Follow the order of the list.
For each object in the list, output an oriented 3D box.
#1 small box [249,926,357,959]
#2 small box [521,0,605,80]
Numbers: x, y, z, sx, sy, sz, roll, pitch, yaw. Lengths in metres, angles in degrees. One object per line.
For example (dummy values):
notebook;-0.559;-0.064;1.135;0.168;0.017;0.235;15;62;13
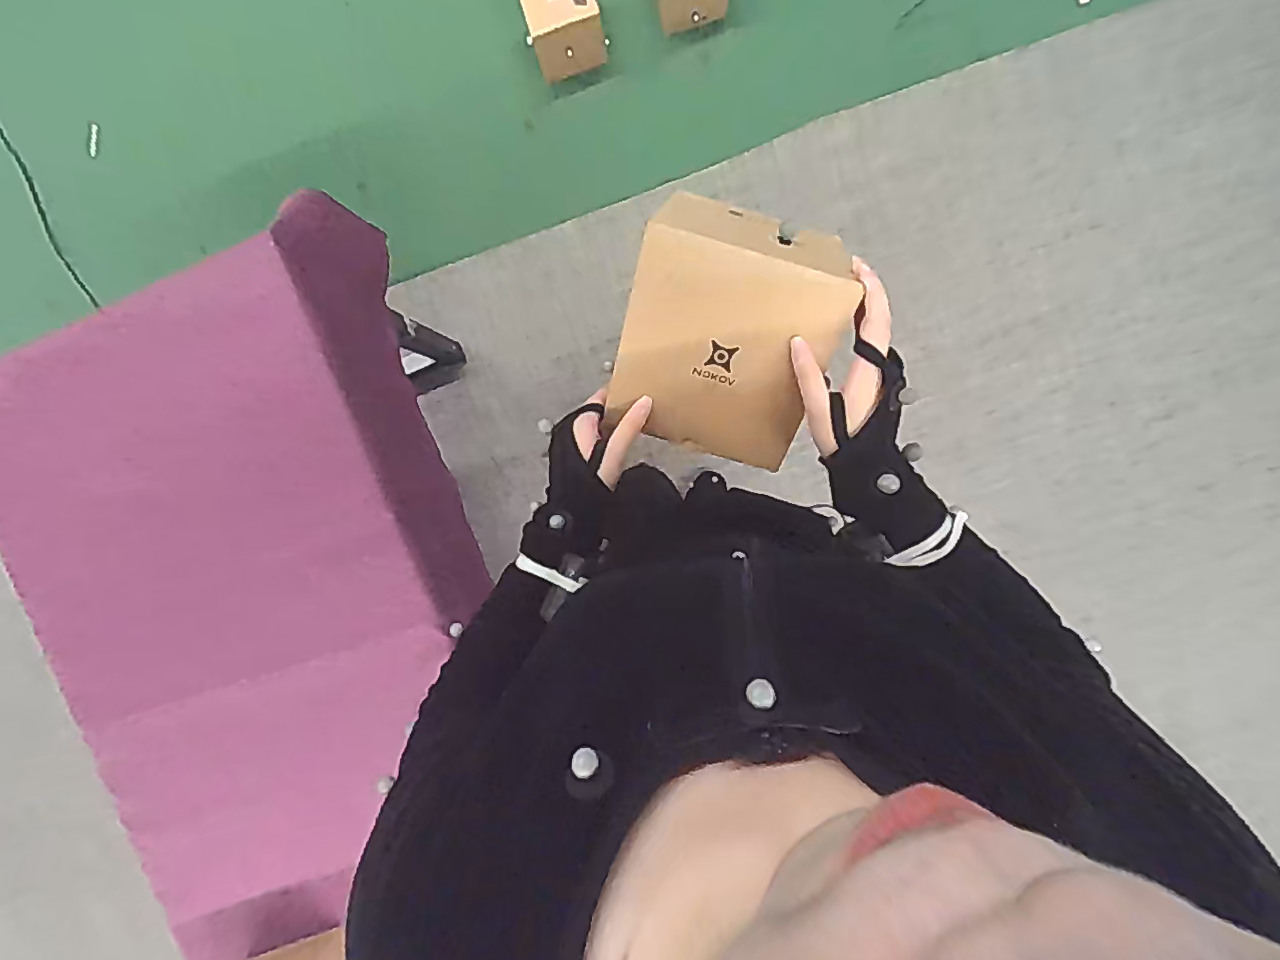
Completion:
small box;-0.516;0.791;0.760;0.179;0.176;0.168;-22;92;4
small box;-0.194;-1.169;1.366;0.179;0.176;0.168;-17;92;5
